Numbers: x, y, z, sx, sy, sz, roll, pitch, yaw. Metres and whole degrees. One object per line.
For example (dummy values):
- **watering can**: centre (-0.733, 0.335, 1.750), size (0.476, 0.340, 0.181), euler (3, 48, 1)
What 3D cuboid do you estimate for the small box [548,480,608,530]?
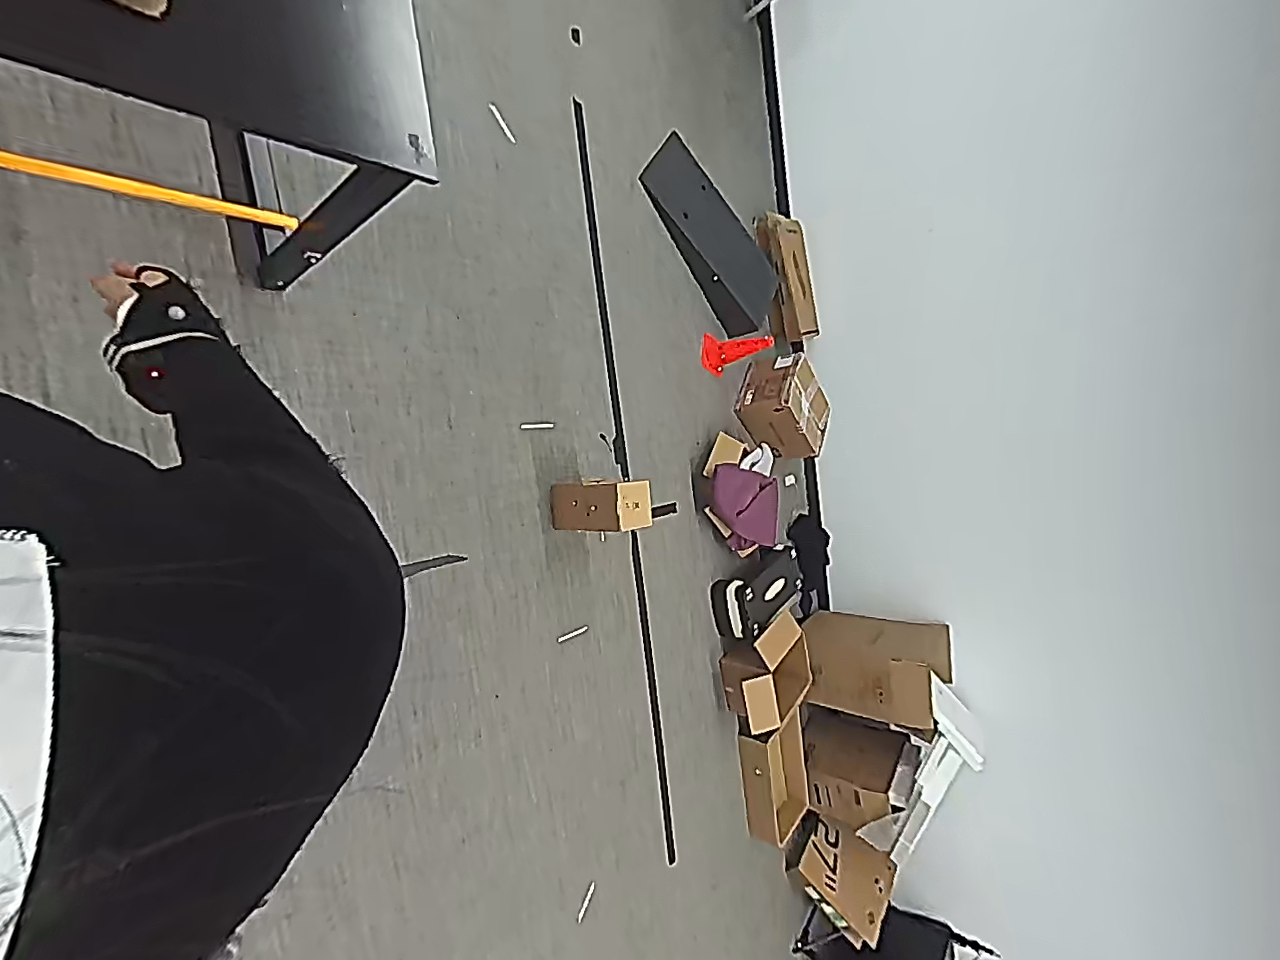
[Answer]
- **small box**: centre (-0.231, 0.094, 2.025), size (0.168, 0.176, 0.179), euler (-5, 92, -50)

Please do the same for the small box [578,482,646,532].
- **small box**: centre (-0.100, 0.093, 1.925), size (0.179, 0.176, 0.168), euler (-5, 91, -50)
